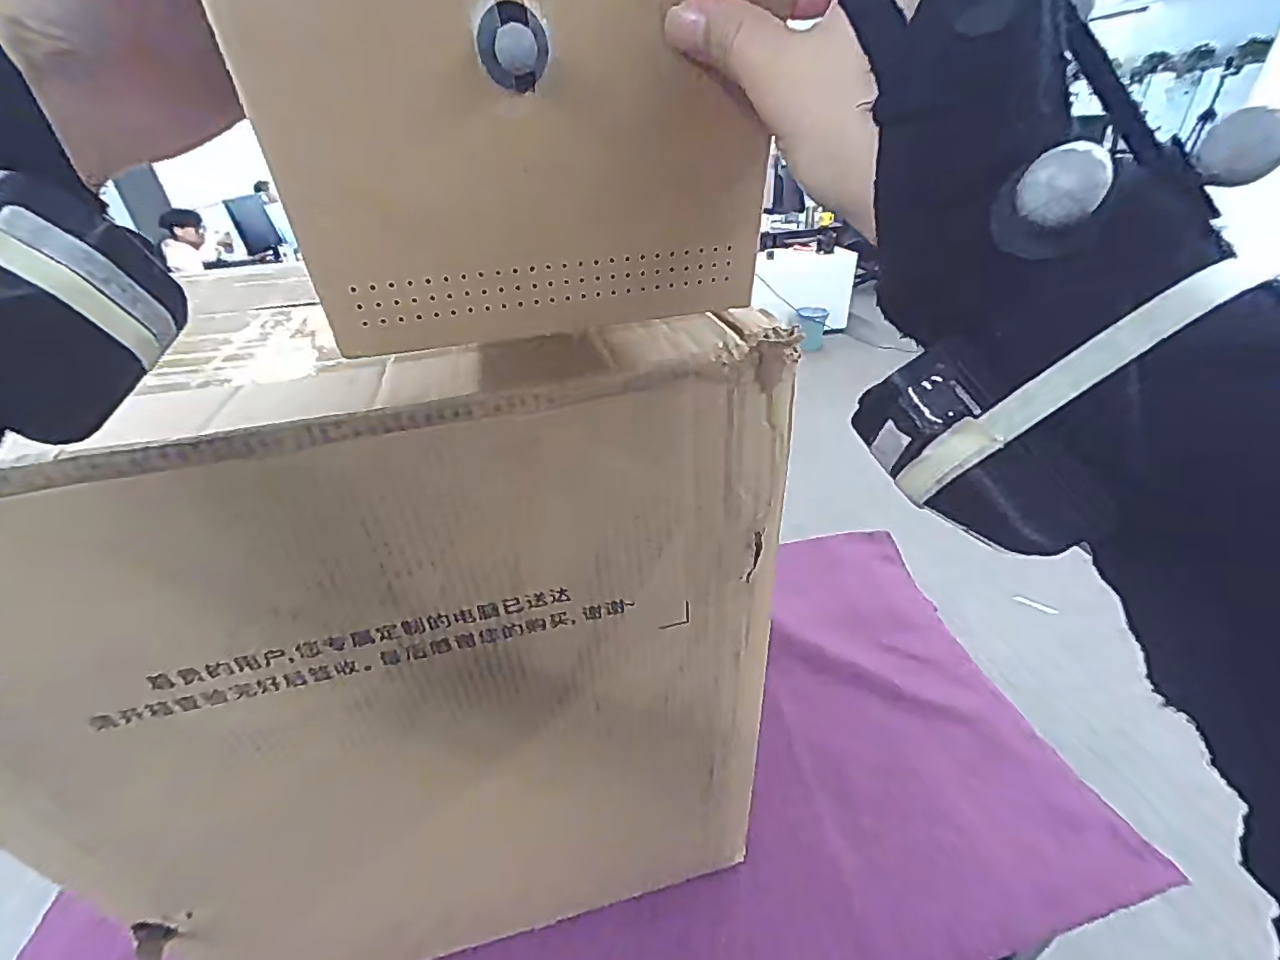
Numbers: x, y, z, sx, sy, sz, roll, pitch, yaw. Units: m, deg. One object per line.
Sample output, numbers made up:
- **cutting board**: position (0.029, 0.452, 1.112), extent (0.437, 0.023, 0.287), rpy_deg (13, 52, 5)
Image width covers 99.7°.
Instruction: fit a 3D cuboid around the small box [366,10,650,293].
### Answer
- **small box**: position (-0.097, -0.263, 0.454), extent (0.179, 0.176, 0.168), rpy_deg (-10, 33, -9)
